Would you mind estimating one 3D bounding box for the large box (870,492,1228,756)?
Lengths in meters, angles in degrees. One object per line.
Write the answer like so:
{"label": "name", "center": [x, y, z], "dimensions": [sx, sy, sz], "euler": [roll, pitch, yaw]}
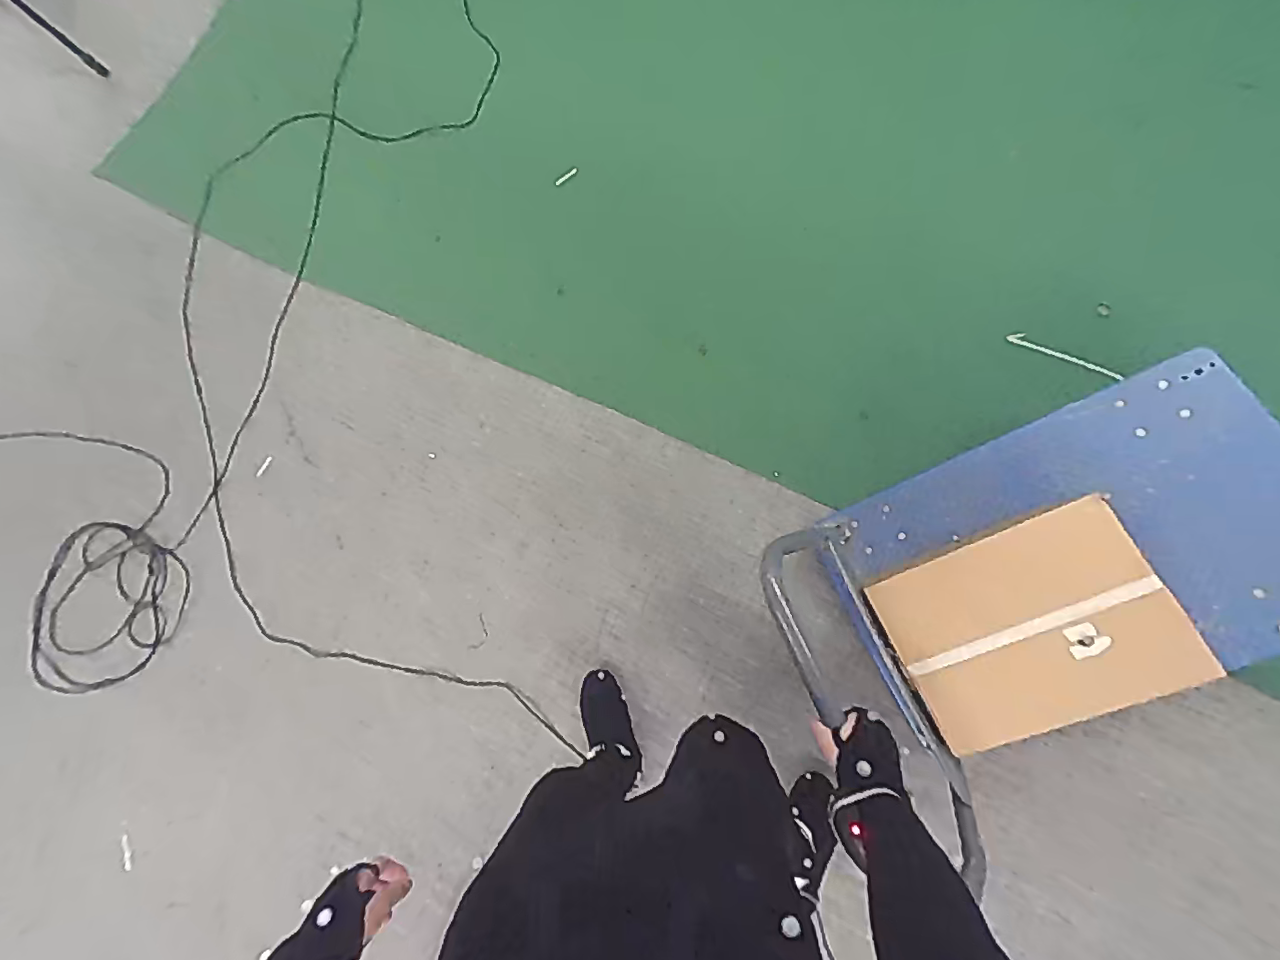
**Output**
{"label": "large box", "center": [0.705, 0.264, 1.032], "dimensions": [0.408, 0.320, 0.320], "euler": [-28, 73, 16]}
